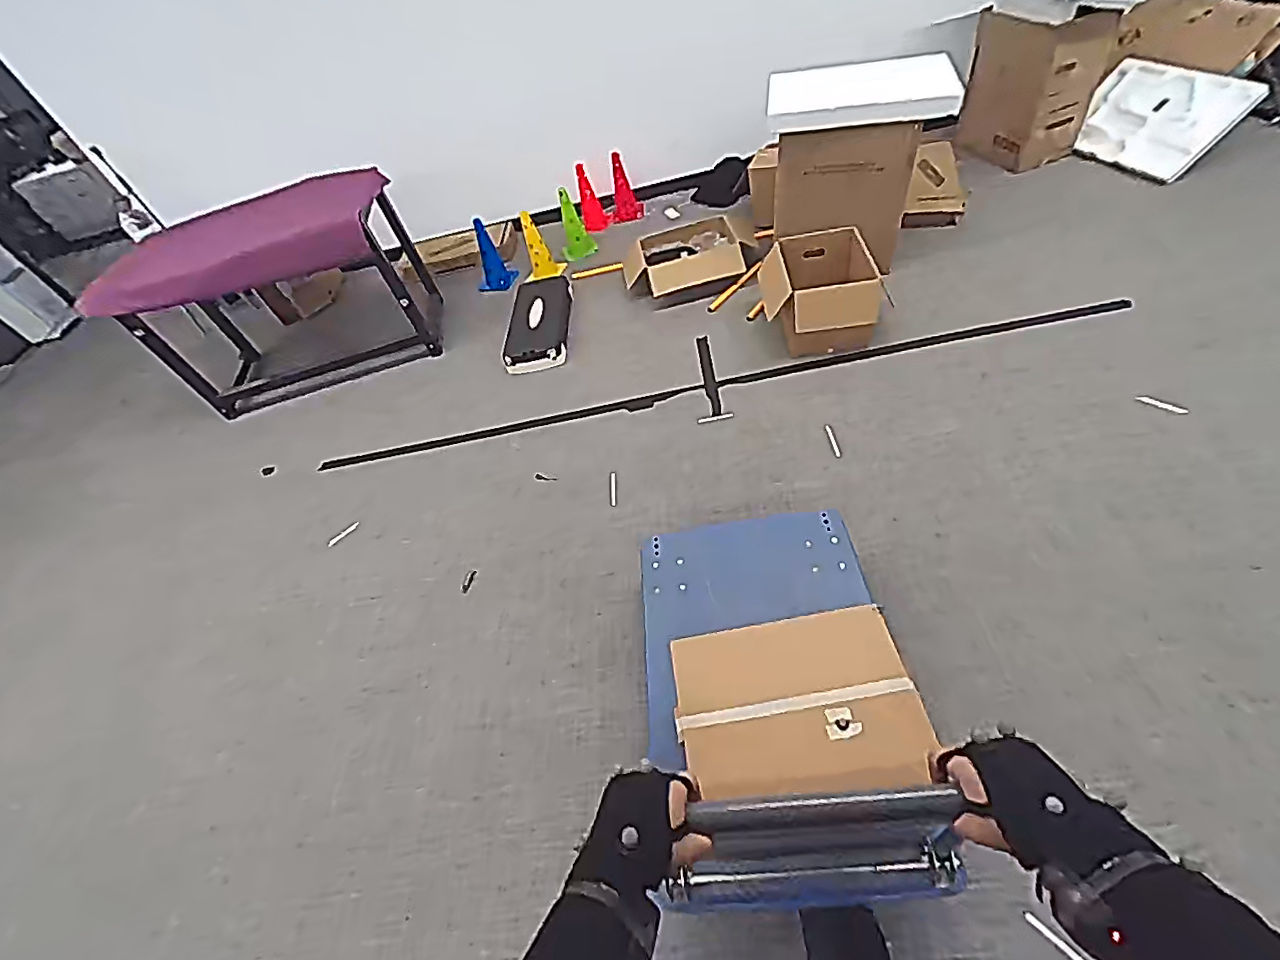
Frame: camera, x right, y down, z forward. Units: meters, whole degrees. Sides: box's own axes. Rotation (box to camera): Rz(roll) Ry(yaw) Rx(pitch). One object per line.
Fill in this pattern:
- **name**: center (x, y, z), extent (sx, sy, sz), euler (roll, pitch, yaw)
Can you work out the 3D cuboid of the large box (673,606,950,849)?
- **large box**: center (0.299, 0.491, 1.059), extent (0.408, 0.320, 0.320), euler (-11, 49, 4)
